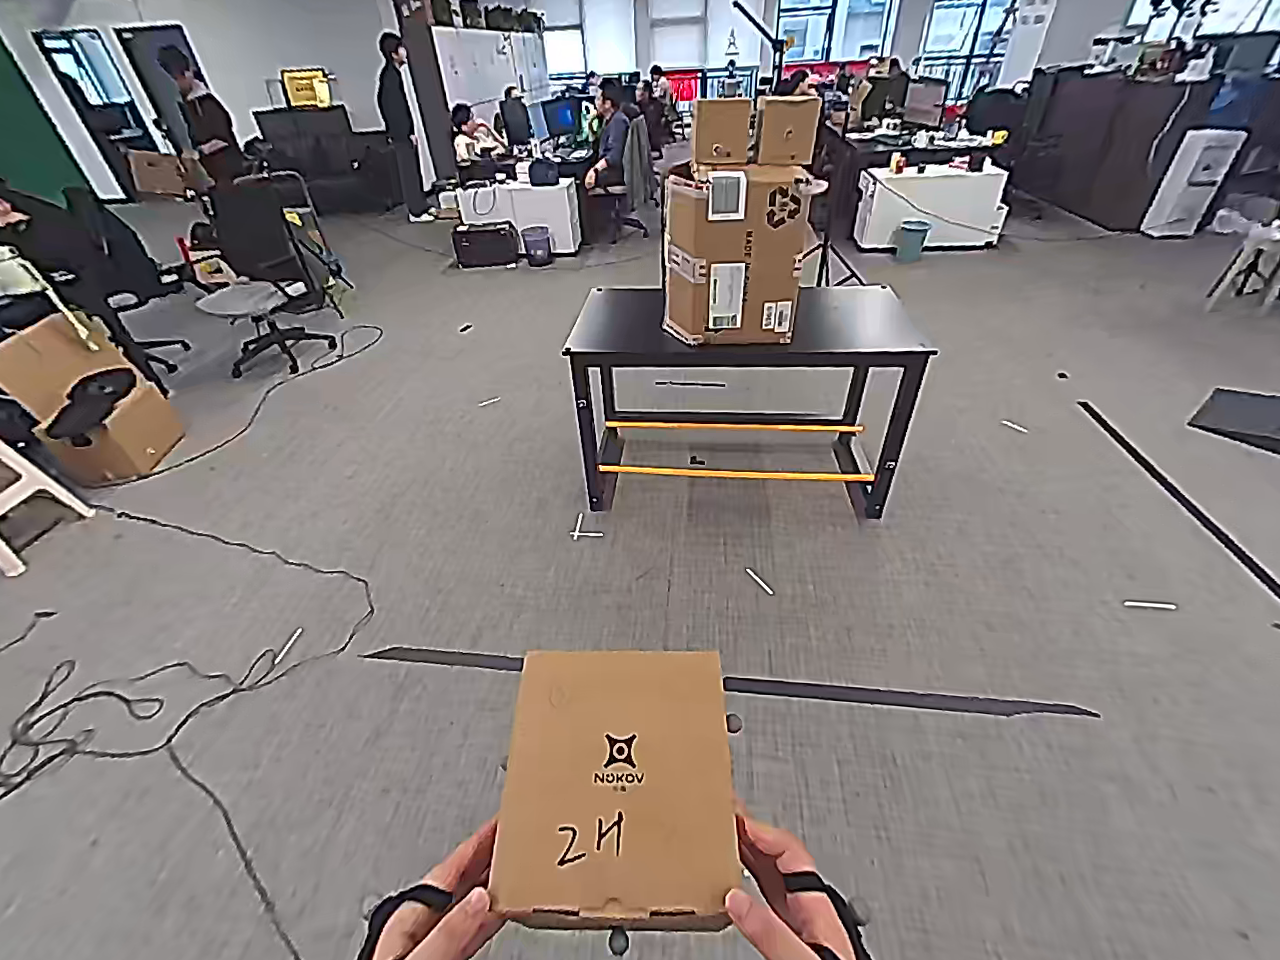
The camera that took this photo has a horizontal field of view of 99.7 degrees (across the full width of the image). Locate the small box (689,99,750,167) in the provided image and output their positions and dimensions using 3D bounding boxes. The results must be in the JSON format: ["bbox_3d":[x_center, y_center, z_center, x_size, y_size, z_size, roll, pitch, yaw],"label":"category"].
[{"bbox_3d":[0.245,-1.097,1.707,0.168,0.176,0.179,-2,37,0],"label":"small box"}]

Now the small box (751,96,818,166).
[{"bbox_3d":[0.443,-1.086,1.684,0.168,0.176,0.179,2,39,2],"label":"small box"}]

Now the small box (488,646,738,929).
[{"bbox_3d":[-0.015,0.261,0.461,0.168,0.176,0.179,-1,47,2],"label":"small box"}]
